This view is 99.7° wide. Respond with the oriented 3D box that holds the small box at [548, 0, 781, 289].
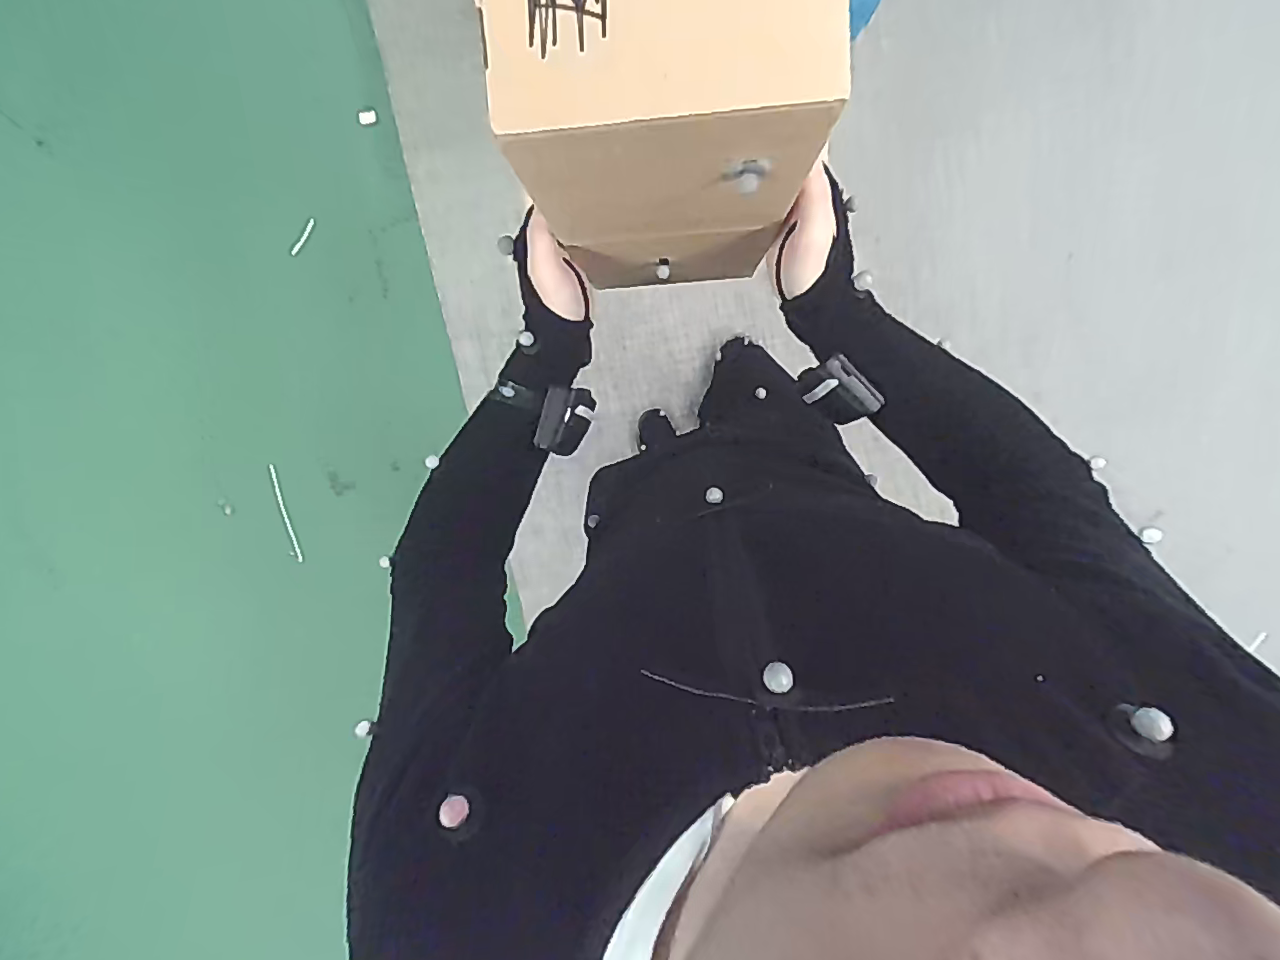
[{"bbox_3d":[0.025,-0.283,0.497,0.179,0.176,0.168,-3,96,5],"label":"small box"}]
